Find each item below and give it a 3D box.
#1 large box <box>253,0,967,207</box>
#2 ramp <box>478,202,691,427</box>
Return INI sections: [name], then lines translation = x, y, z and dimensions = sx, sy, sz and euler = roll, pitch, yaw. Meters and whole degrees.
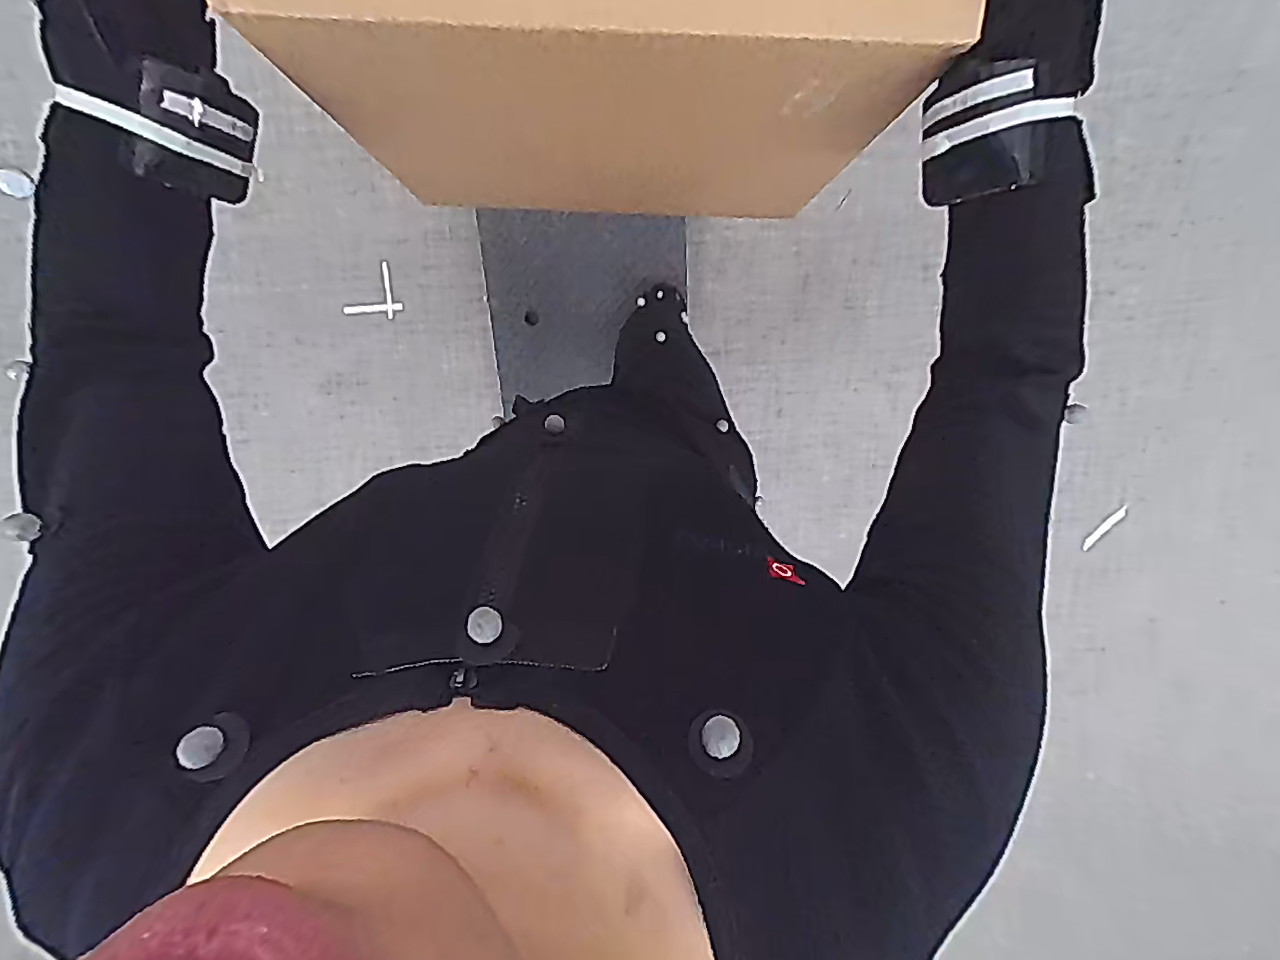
[large box]
translation = -0.021, -0.427, 0.421
dimensions = 0.408, 0.320, 0.320
euler = 0, 100, -3
[ramp]
translation = -0.131, -0.621, 1.279
dimensions = 0.509, 0.206, 0.991
euler = -5, 100, 0
